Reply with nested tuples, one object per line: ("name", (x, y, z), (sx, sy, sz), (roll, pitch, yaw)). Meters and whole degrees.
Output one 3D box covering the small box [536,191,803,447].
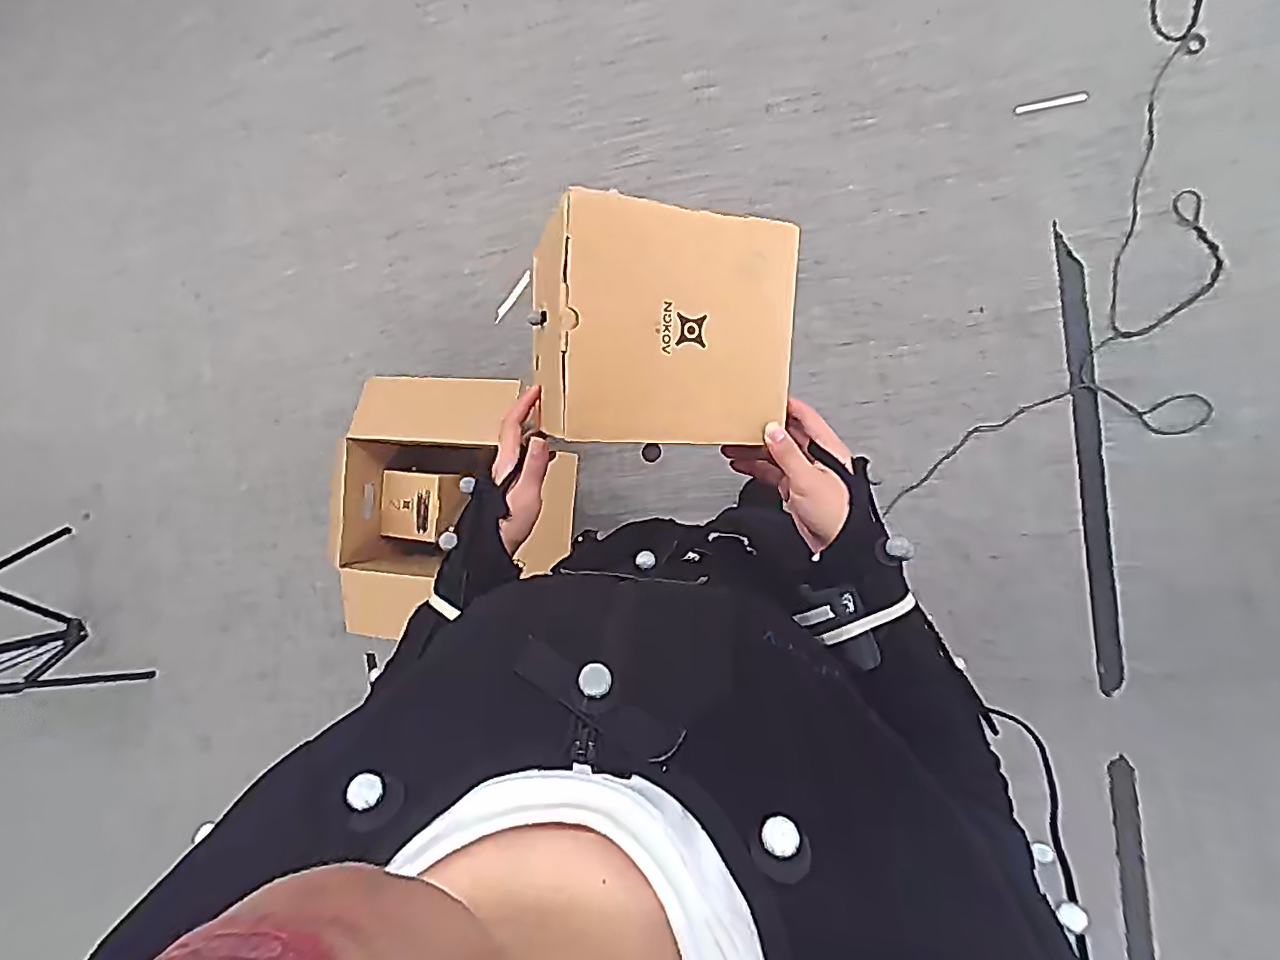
("small box", (0.011, -0.120, 0.463), (0.179, 0.176, 0.168), (0, 98, -17))
